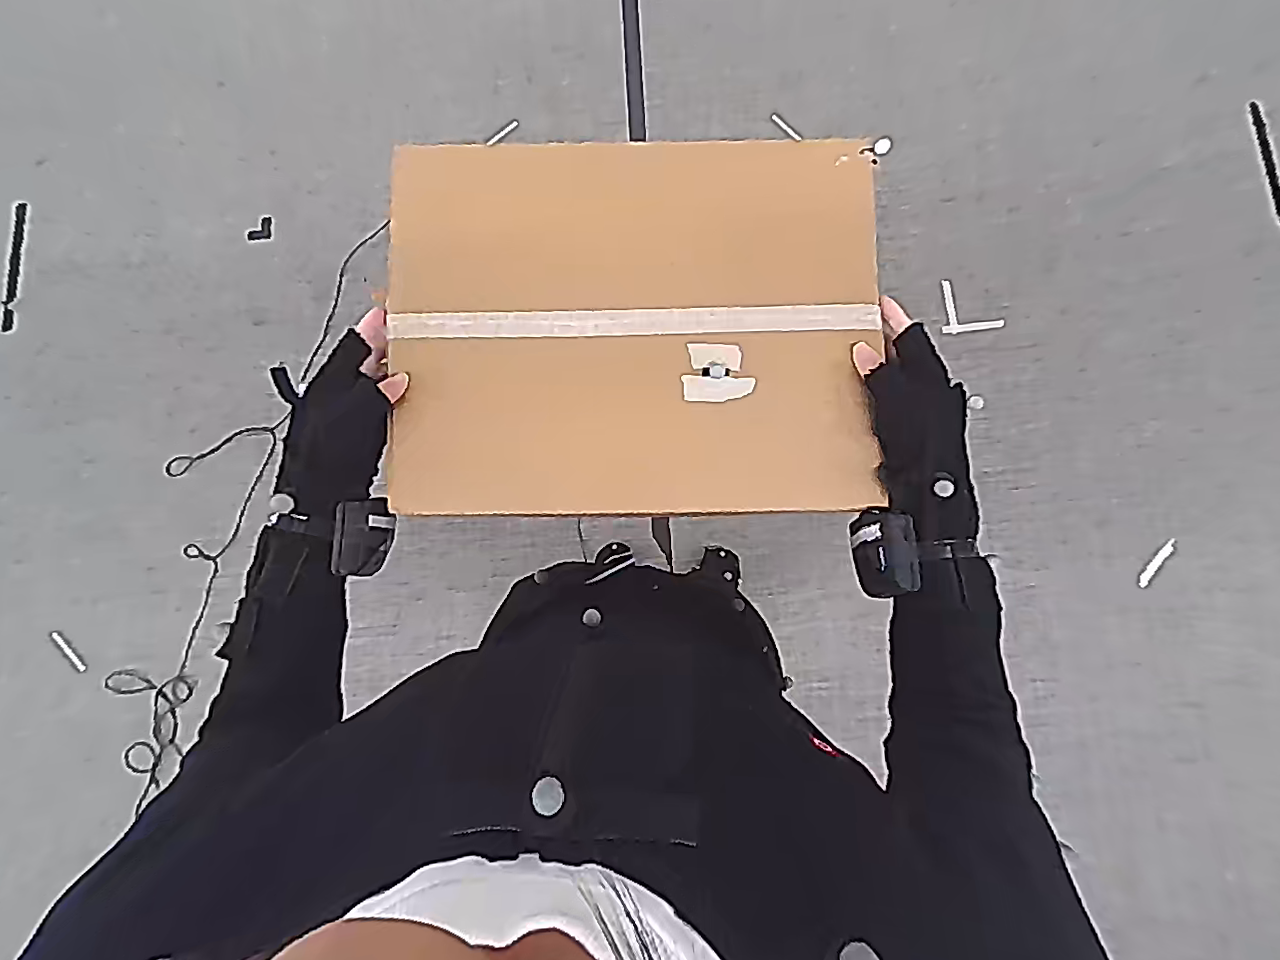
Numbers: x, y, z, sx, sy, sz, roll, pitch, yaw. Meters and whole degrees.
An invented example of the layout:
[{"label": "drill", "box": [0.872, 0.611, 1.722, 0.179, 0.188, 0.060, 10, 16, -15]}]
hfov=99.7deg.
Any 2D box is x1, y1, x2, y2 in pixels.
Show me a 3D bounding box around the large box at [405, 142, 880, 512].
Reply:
[{"label": "large box", "box": [-0.004, -0.126, 0.608, 0.408, 0.320, 0.320, -1, 87, 0]}]
